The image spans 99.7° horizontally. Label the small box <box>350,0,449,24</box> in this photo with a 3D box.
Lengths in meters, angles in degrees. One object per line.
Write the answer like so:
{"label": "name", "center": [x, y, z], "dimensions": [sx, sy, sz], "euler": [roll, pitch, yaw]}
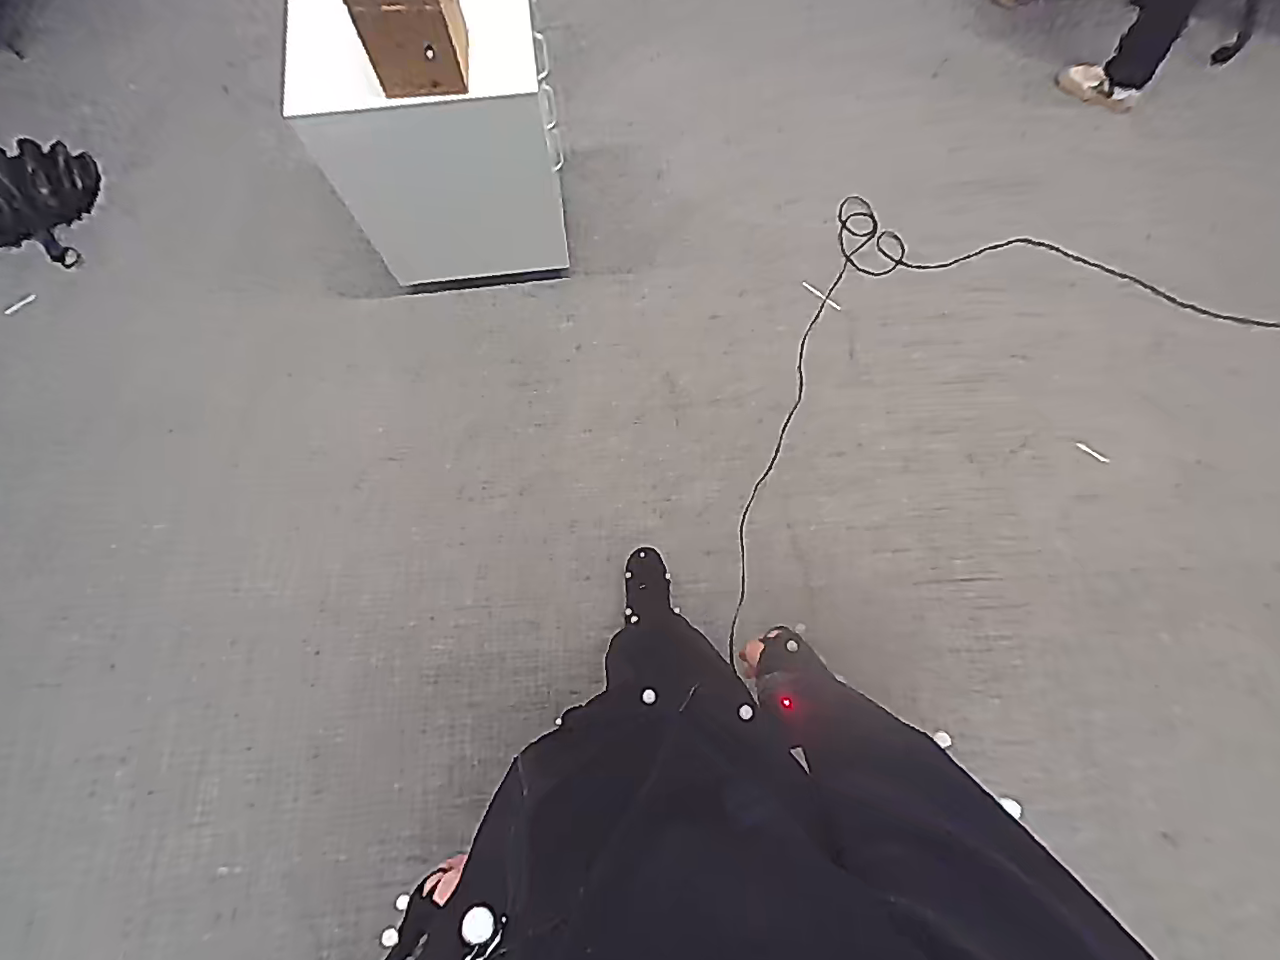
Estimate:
{"label": "small box", "center": [-0.420, -0.905, 0.893], "dimensions": [0.168, 0.176, 0.179], "euler": [-4, 74, -2]}

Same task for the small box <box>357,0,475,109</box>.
{"label": "small box", "center": [-0.424, -0.857, 1.050], "dimensions": [0.168, 0.176, 0.179], "euler": [-5, 72, -3]}
